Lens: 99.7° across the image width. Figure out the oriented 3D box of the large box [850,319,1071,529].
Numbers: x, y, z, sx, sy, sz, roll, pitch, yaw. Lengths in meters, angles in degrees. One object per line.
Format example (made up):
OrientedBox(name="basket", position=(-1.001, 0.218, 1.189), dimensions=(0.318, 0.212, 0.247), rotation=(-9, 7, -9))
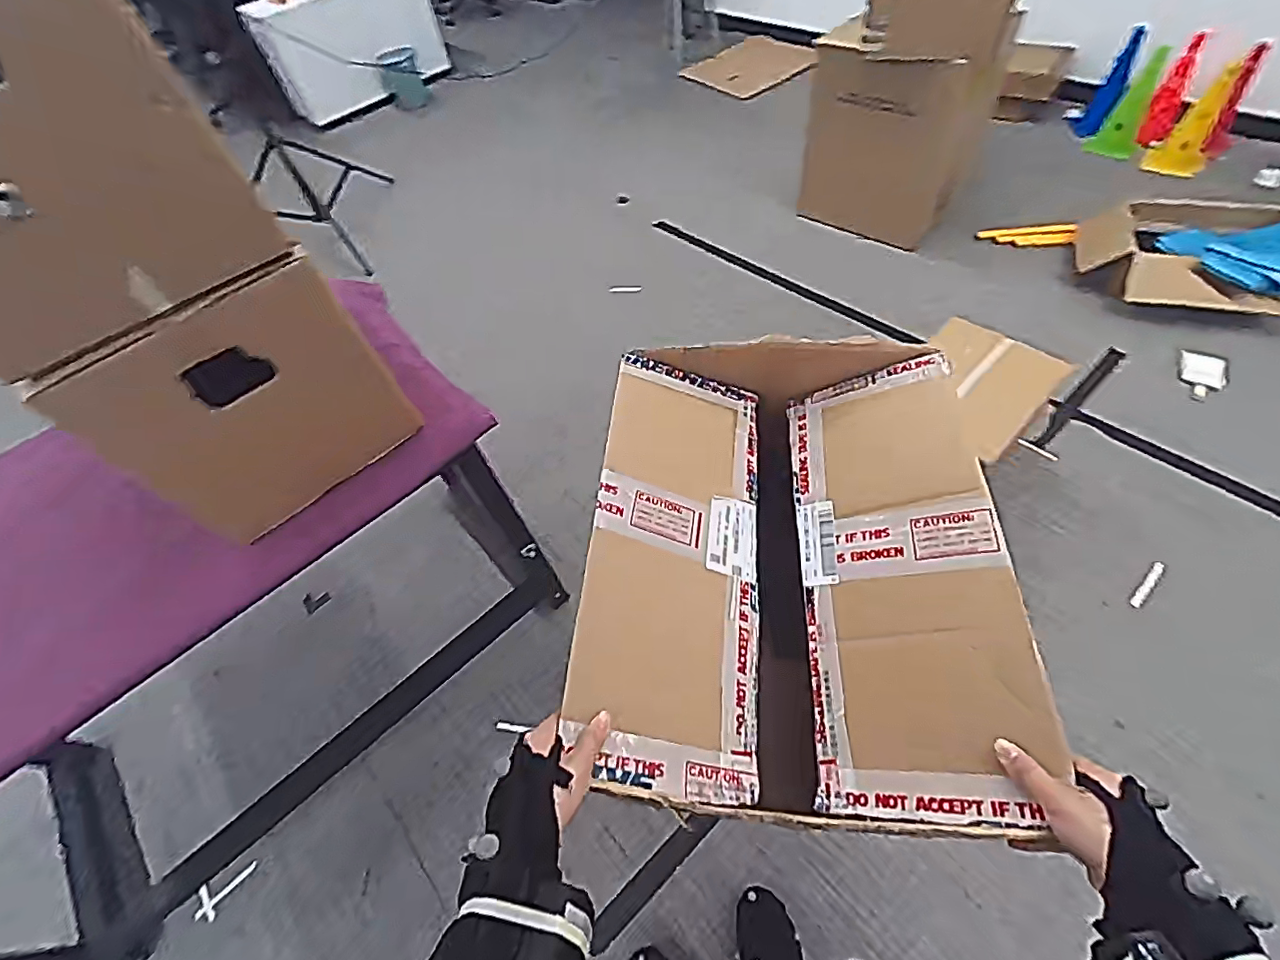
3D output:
OrientedBox(name="large box", position=(0.837, -0.150, 1.457), dimensions=(0.408, 0.320, 0.320), rotation=(-41, 59, -18))
